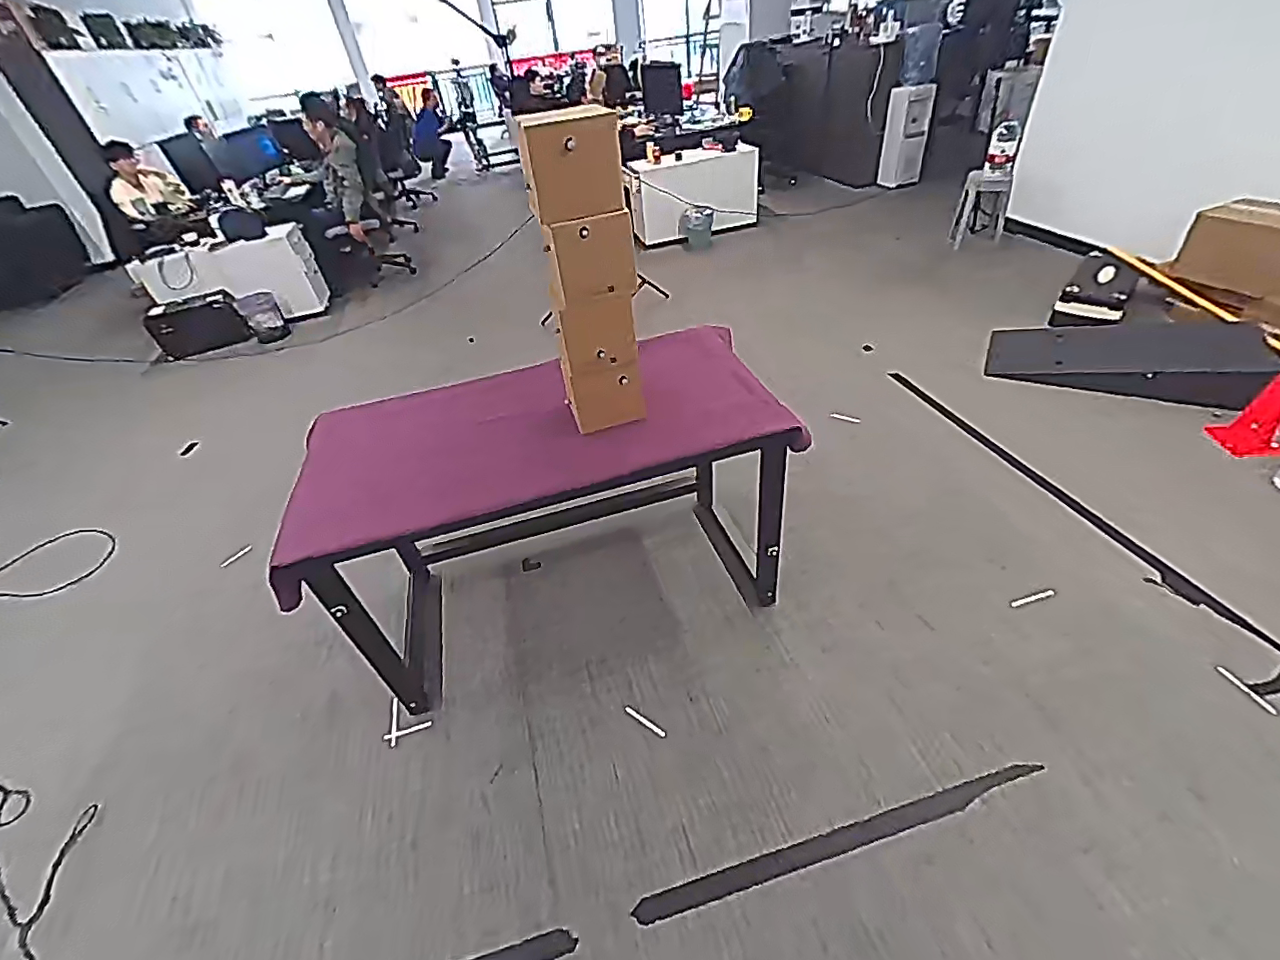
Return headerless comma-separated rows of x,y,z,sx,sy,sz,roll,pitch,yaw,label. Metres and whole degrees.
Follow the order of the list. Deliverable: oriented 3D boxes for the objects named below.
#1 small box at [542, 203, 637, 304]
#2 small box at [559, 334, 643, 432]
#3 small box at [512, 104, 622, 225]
-0.113,-0.502,1.177,0.168,0.176,0.179,-16,41,-9,small box
-0.096,-0.249,1.385,0.179,0.176,0.168,-16,40,-8,small box
-0.141,-0.630,1.080,0.179,0.176,0.168,-17,41,-9,small box
